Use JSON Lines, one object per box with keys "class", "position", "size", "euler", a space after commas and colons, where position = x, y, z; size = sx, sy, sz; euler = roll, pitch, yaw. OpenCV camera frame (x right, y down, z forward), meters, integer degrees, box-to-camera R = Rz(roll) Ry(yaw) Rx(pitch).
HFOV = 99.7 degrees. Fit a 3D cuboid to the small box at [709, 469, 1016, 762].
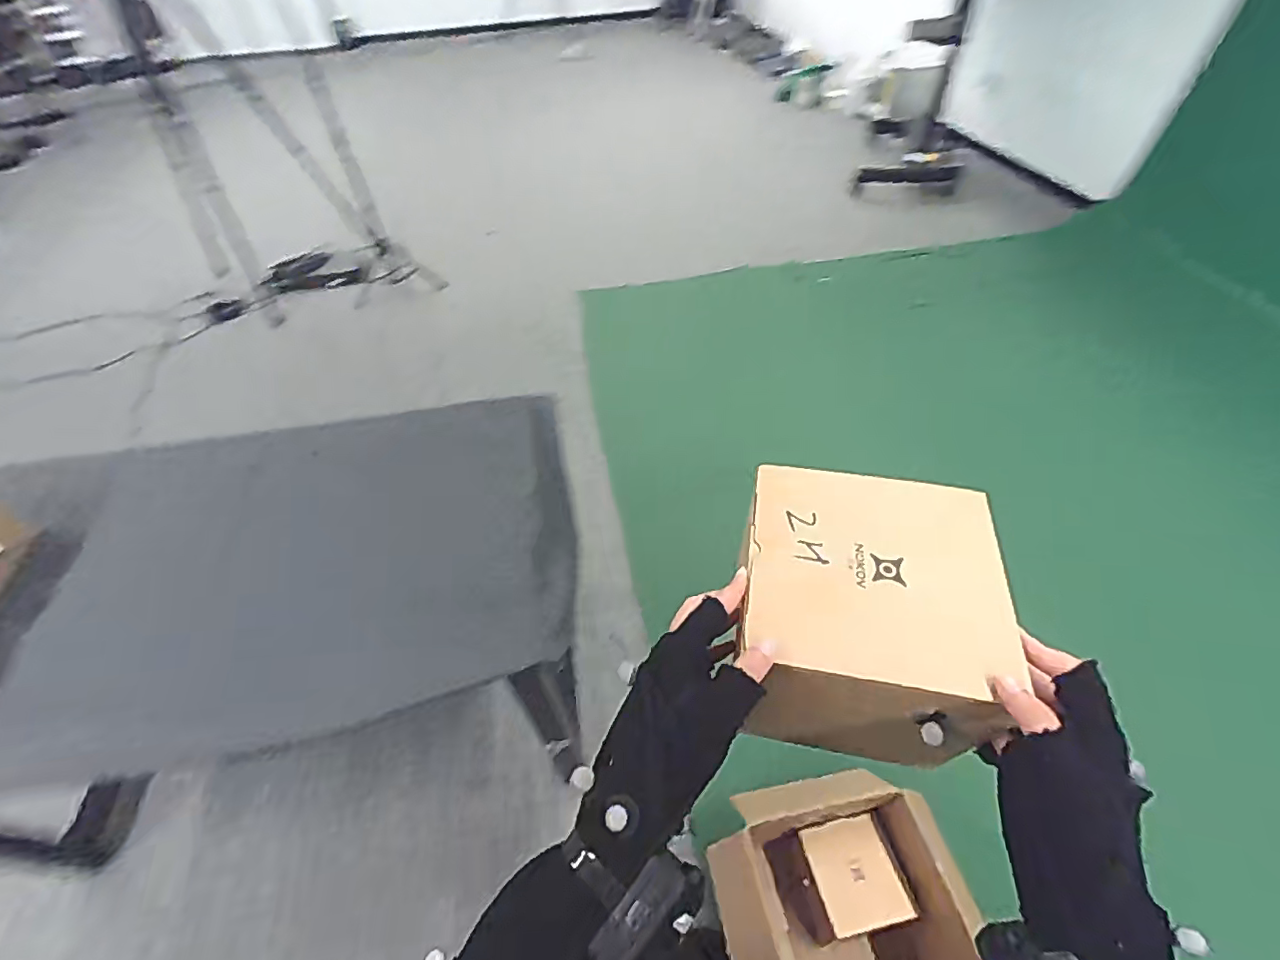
{"class": "small box", "position": [0.155, 0.114, 0.440], "size": [0.179, 0.176, 0.168], "euler": [6, 52, 9]}
